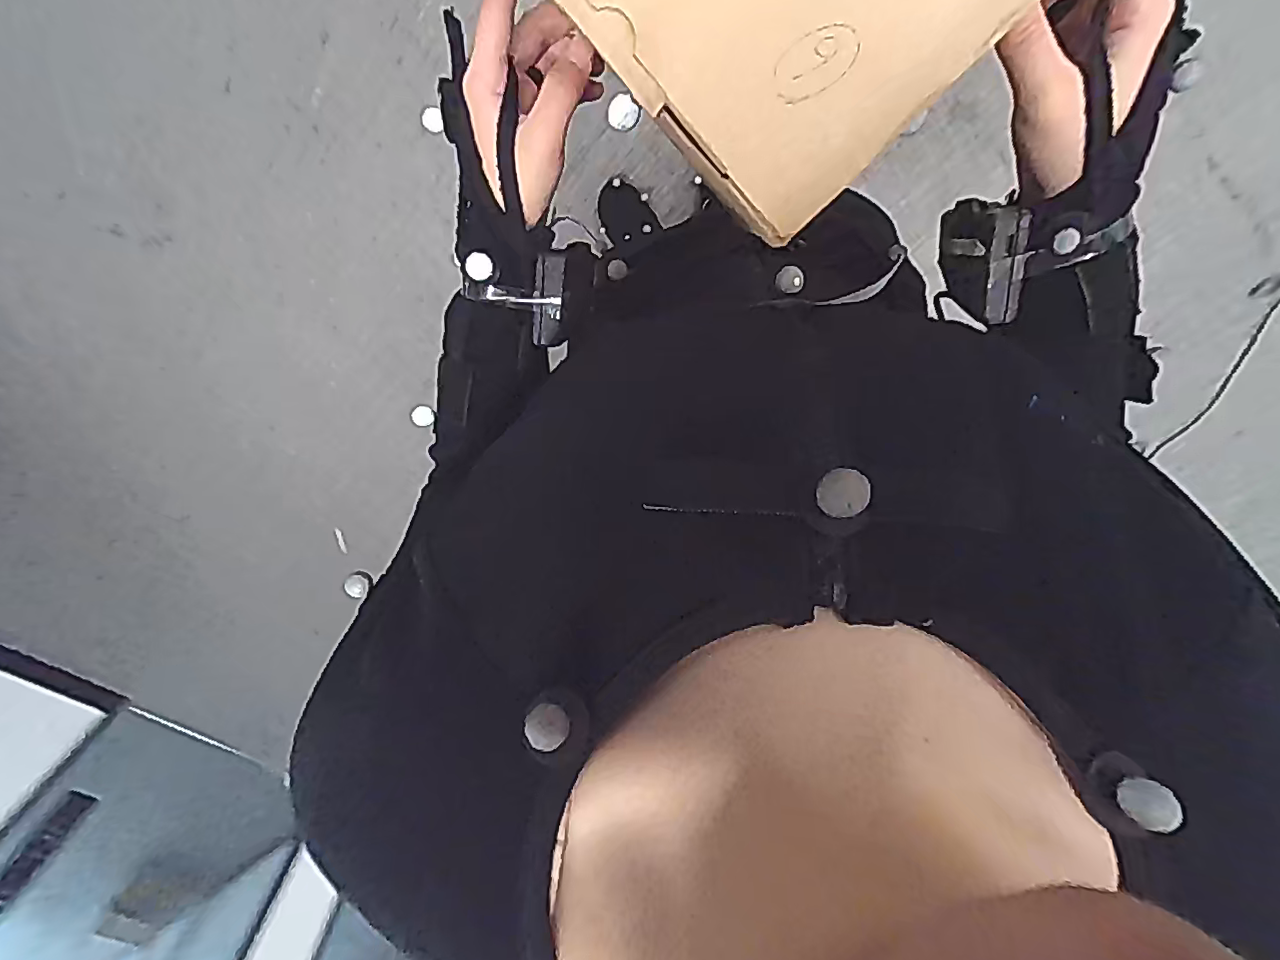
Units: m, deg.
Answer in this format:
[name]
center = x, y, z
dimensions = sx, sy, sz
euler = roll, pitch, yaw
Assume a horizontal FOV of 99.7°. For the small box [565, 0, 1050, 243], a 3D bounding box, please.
[small box]
center = 0.064, -0.221, 0.207
dimensions = 0.179, 0.176, 0.168
euler = -39, 107, 23
